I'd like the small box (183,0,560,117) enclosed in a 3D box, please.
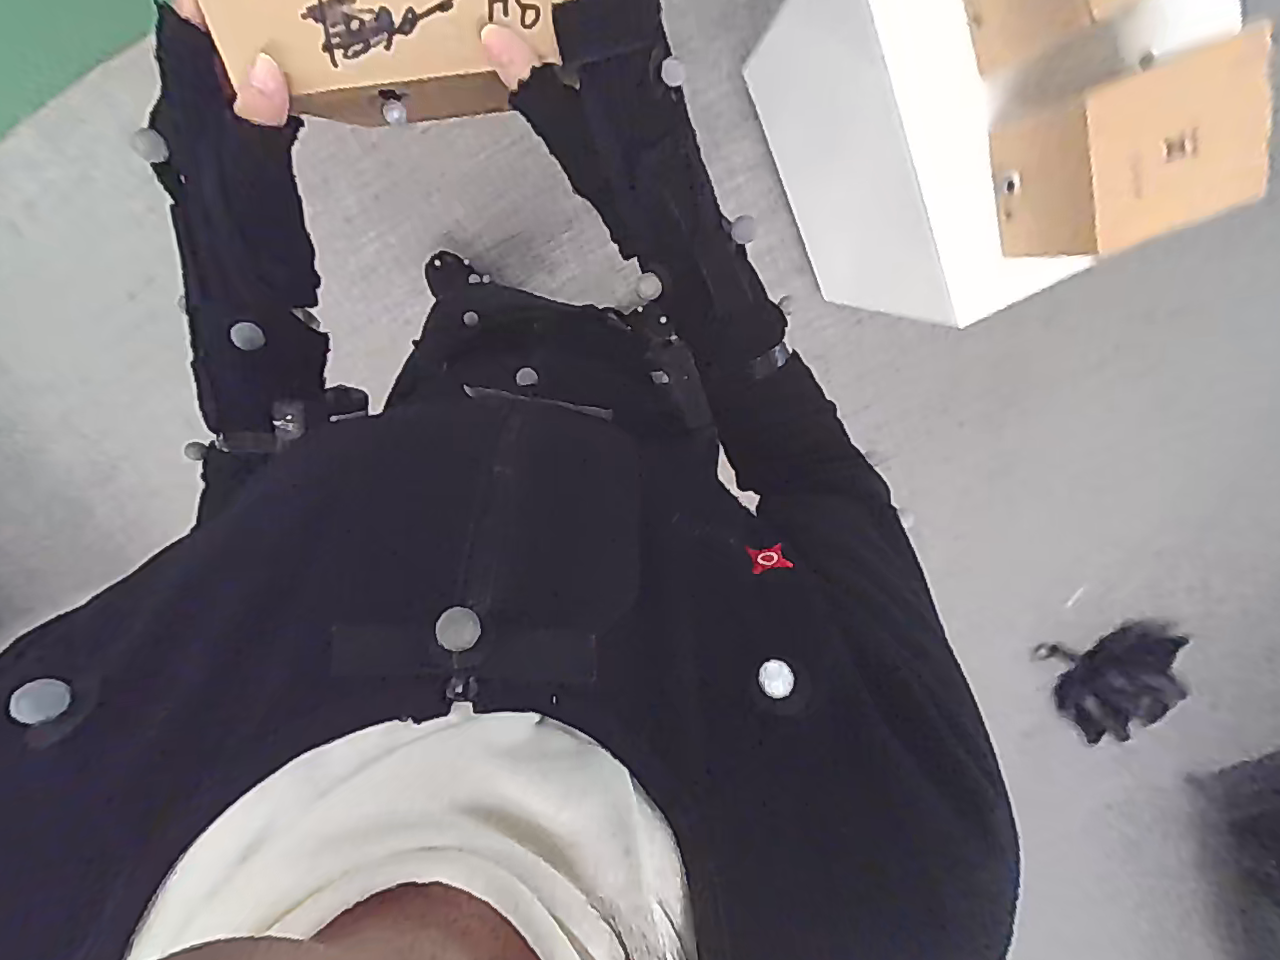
[{"bbox_3d":[-0.139,-0.316,0.288,0.168,0.176,0.179,-9,119,-2],"label":"small box"}]

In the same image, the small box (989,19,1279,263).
[{"bbox_3d":[0.544,-0.363,0.616,0.179,0.176,0.168,-20,109,8],"label":"small box"}]

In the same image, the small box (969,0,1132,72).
[{"bbox_3d":[0.457,-0.564,0.548,0.179,0.176,0.168,-27,111,8],"label":"small box"}]
